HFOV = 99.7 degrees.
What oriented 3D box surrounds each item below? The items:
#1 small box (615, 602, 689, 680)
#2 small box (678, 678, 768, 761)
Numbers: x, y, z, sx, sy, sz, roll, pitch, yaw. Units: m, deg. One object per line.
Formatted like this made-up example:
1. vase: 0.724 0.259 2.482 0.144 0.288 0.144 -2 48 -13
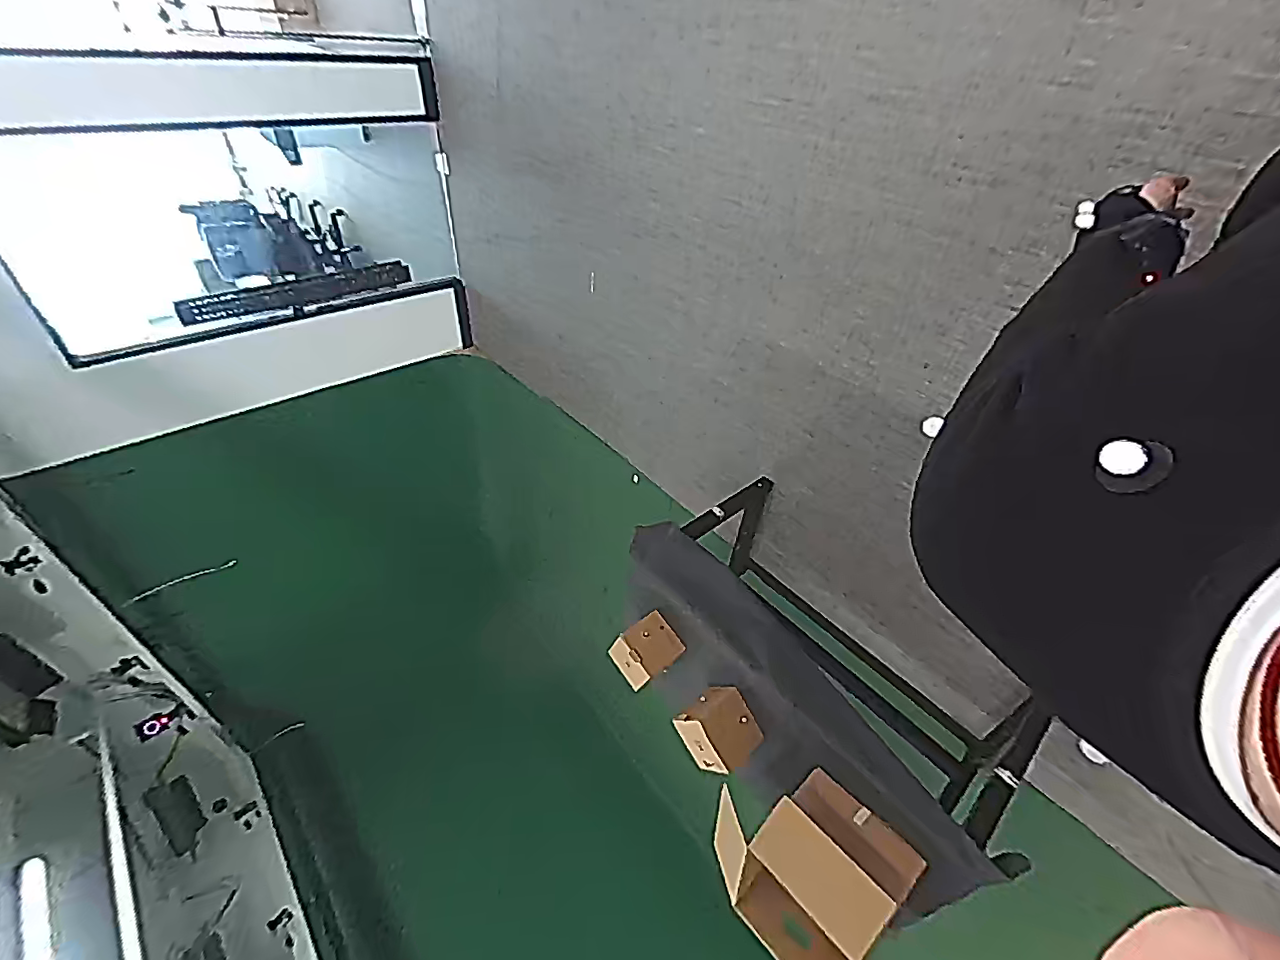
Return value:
1. small box: 0.042 0.544 1.839 0.168 0.176 0.179 52 147 19
2. small box: 0.257 0.730 1.668 0.179 0.176 0.168 61 148 5
